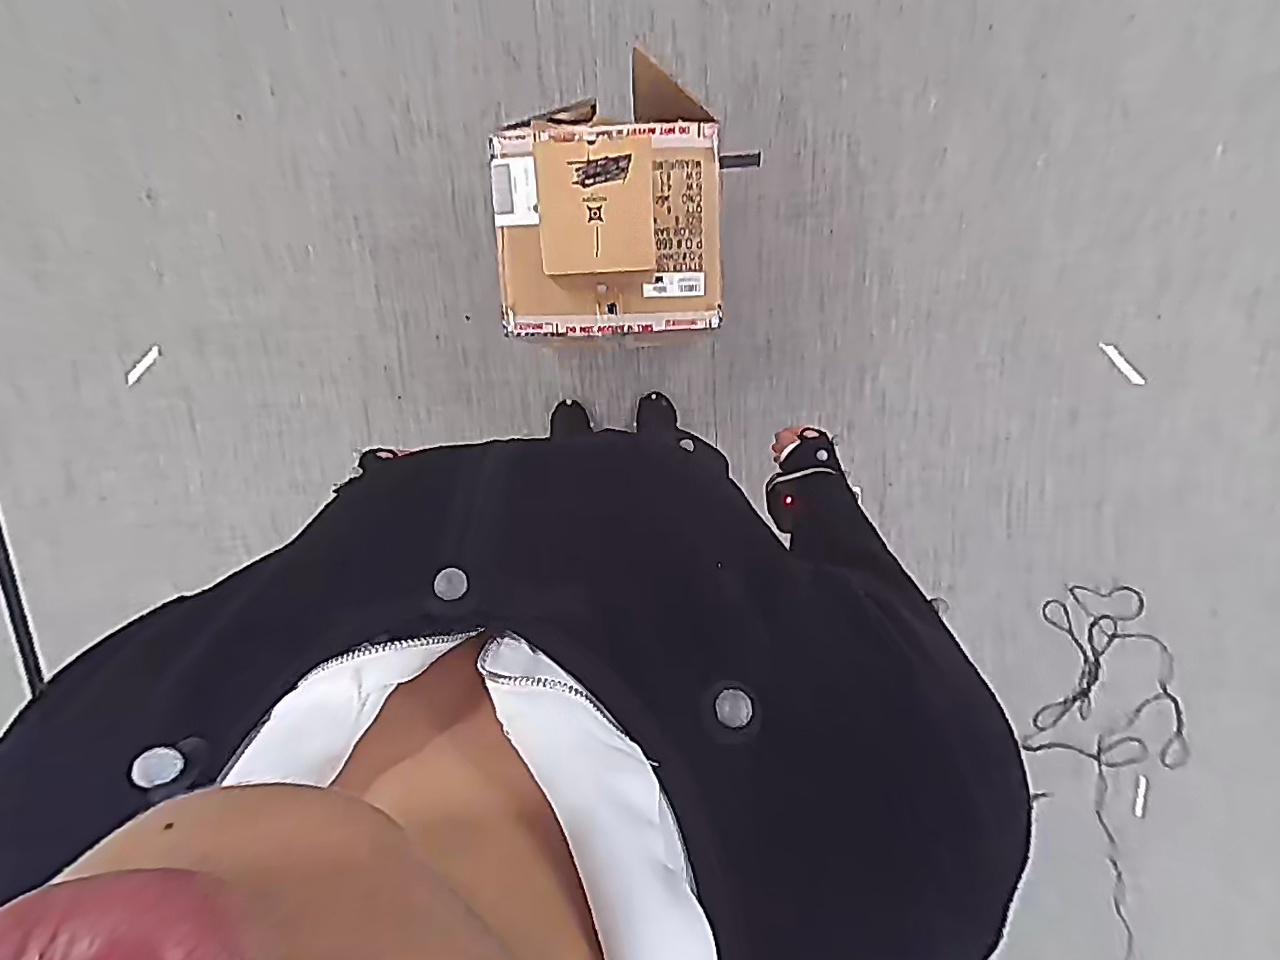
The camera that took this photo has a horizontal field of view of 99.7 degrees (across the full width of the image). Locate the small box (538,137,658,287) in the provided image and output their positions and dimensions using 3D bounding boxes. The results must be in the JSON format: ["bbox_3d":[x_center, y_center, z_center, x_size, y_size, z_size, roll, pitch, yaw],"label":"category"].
[{"bbox_3d":[-0.059,-0.405,0.842,0.168,0.176,0.179,-2,104,1],"label":"small box"}]
